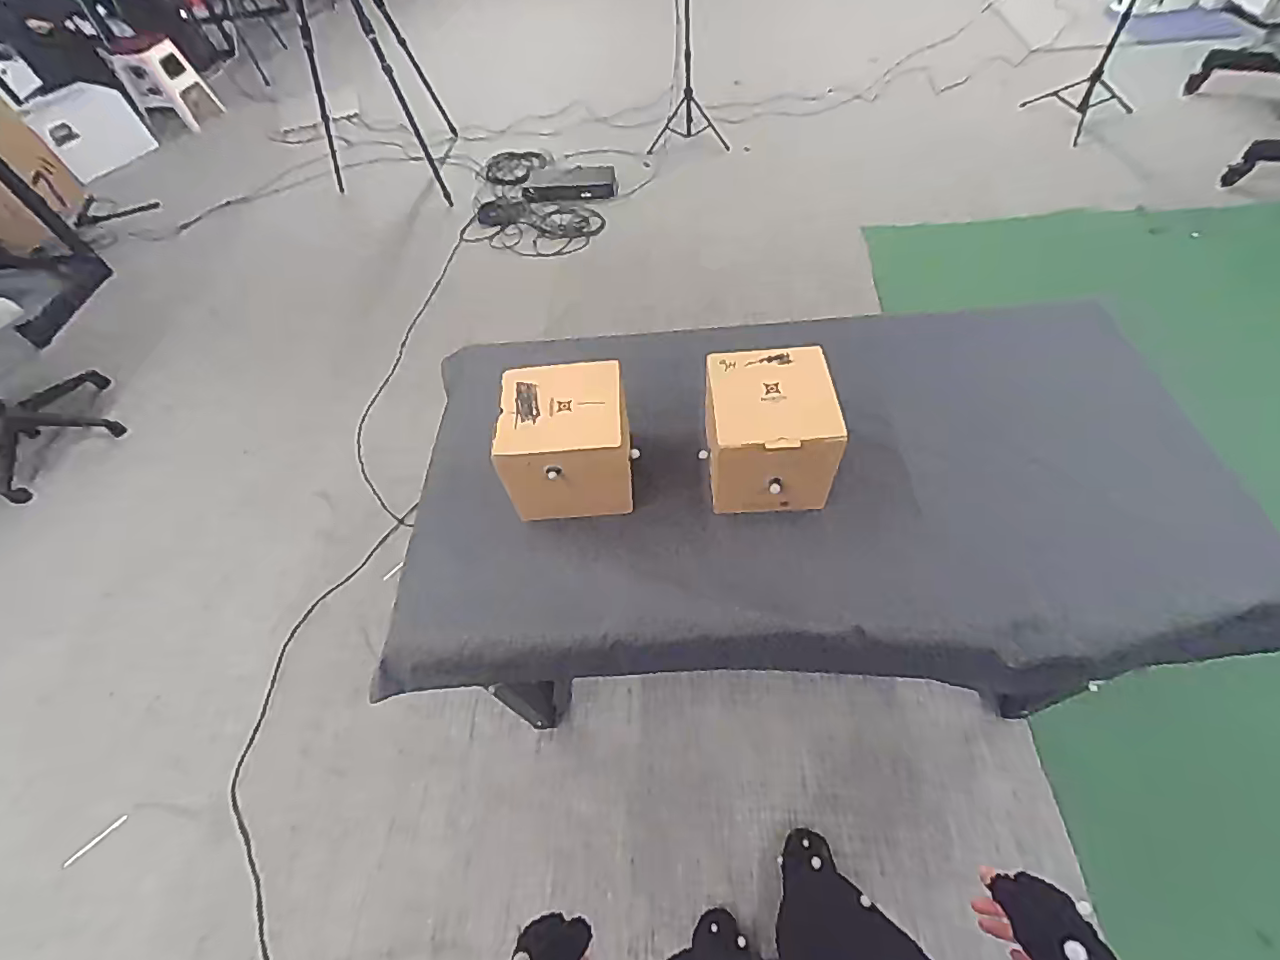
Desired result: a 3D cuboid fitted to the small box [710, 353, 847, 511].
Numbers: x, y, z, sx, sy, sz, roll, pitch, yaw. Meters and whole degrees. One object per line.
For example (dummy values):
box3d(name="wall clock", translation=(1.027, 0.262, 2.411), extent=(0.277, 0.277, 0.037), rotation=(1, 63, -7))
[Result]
box3d(name="small box", translation=(0.193, -0.063, 0.805), extent=(0.168, 0.176, 0.179), rotation=(-3, 55, 4))

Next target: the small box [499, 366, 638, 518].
box3d(name="small box", translation=(-0.099, -0.052, 0.829), extent=(0.179, 0.176, 0.168), rotation=(-4, 55, 2))
